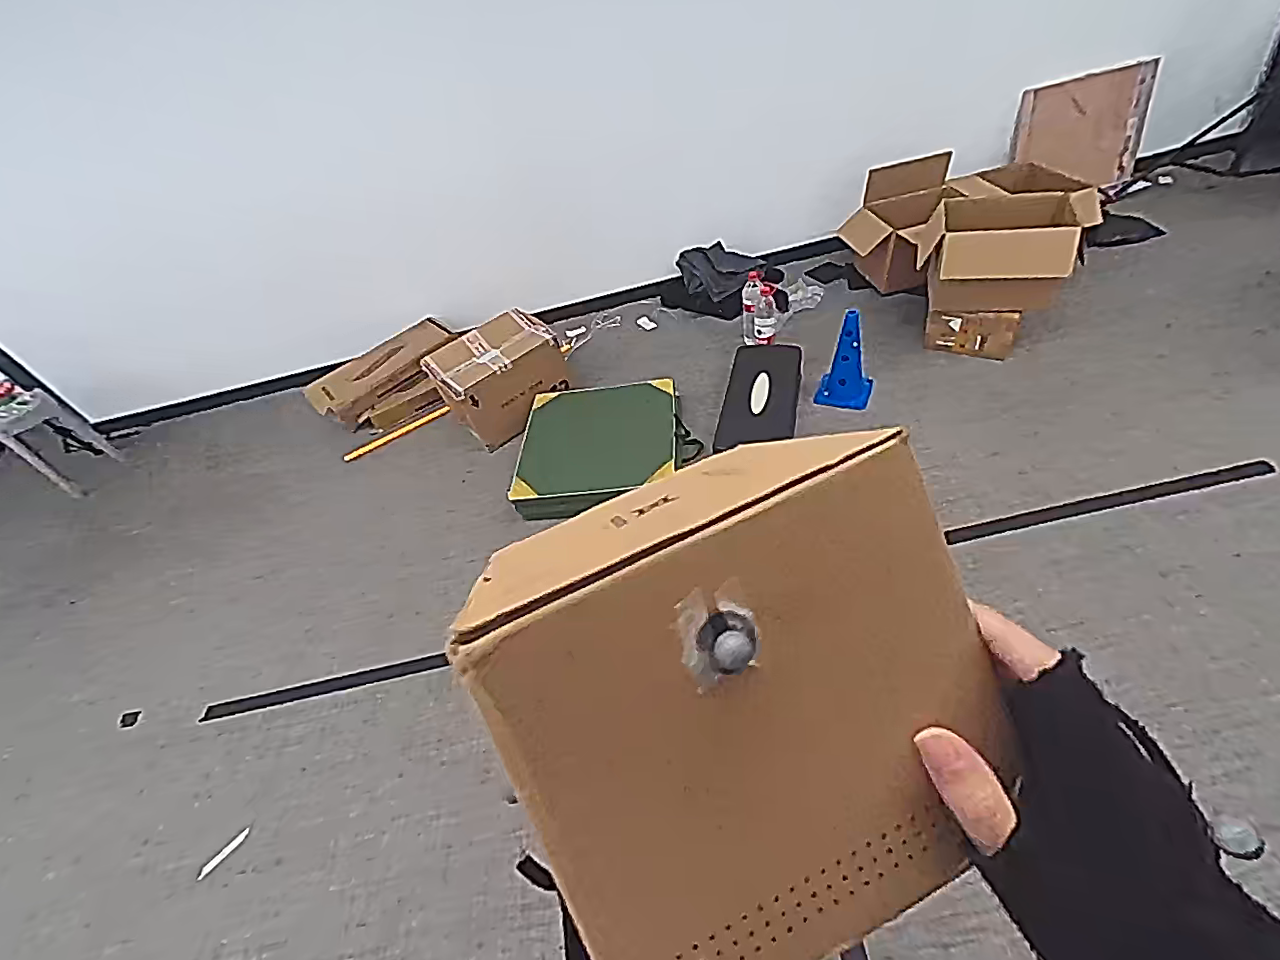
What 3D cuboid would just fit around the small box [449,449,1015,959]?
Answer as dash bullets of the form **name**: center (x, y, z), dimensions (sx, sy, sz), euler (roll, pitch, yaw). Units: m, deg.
- **small box**: center (0.036, 0.097, 0.270), dimensions (0.179, 0.176, 0.168), euler (-24, 6, -7)
